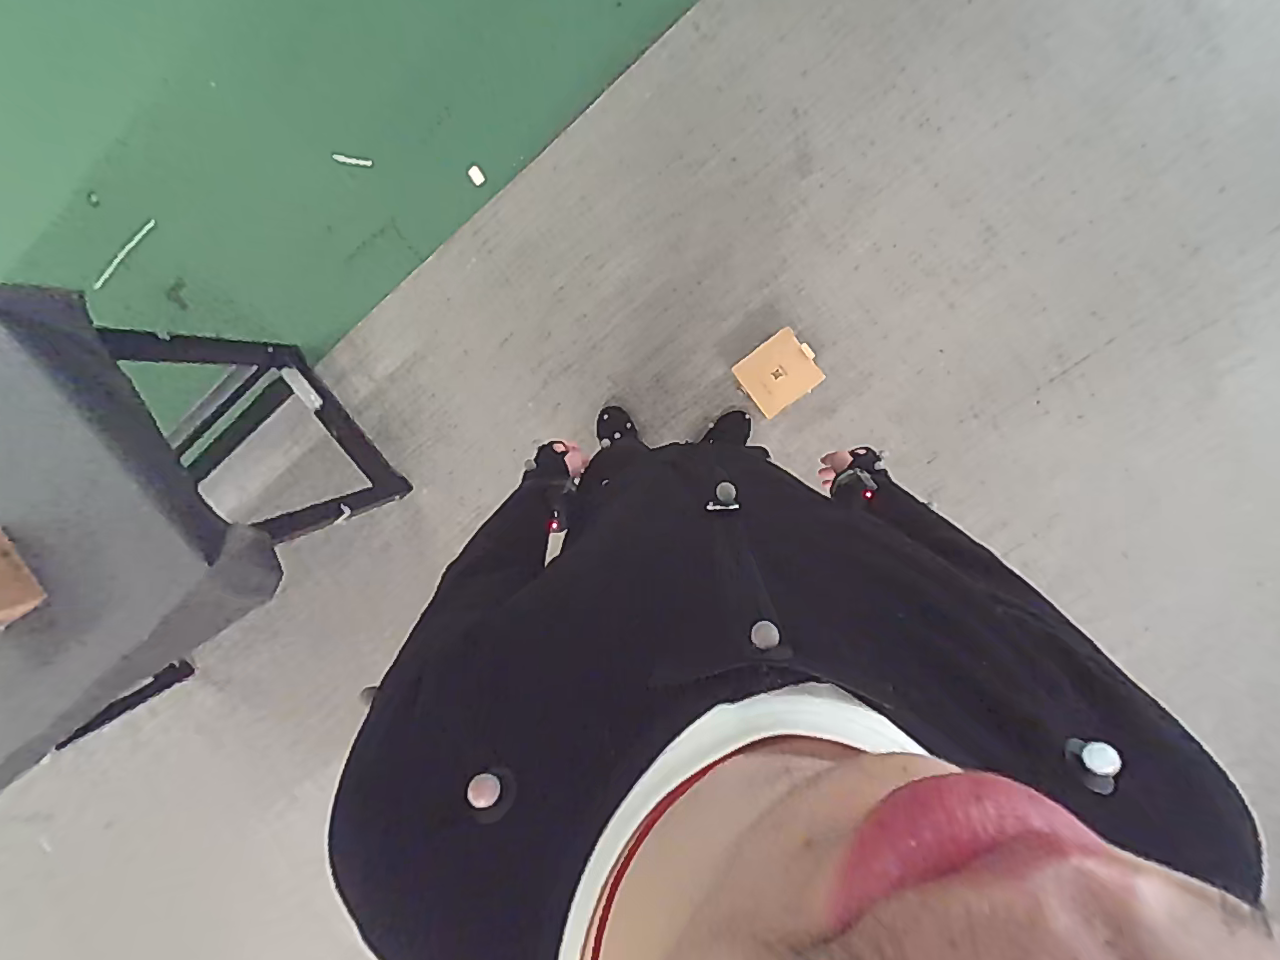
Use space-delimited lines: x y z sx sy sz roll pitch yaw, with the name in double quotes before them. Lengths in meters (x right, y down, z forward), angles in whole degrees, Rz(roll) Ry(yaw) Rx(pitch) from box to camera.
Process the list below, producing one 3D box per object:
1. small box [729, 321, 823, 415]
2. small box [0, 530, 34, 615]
"small box" 0.344 -0.287 1.409 0.179 0.176 0.168 -34 93 12
"small box" -1.267 0.191 0.968 0.179 0.176 0.168 -28 96 11
